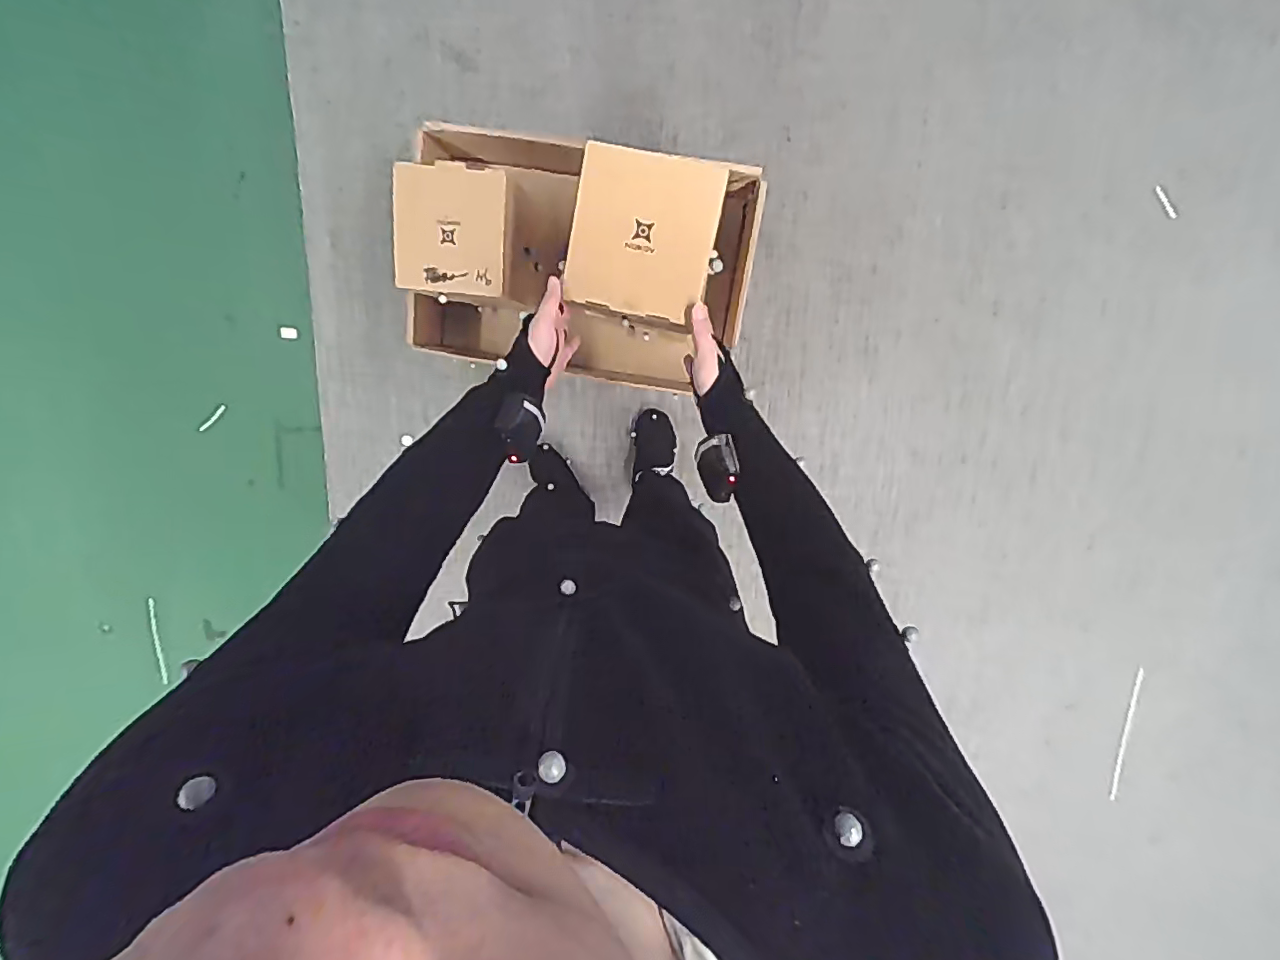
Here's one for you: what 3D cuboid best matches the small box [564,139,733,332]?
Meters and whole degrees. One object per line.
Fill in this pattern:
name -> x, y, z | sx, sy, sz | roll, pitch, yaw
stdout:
small box -> 0.011, -0.295, 0.693 | 0.168, 0.176, 0.179 | 12, 104, 1

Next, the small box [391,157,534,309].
small box -> -0.270, -0.377, 0.853 | 0.168, 0.176, 0.179 | 7, 102, 2
